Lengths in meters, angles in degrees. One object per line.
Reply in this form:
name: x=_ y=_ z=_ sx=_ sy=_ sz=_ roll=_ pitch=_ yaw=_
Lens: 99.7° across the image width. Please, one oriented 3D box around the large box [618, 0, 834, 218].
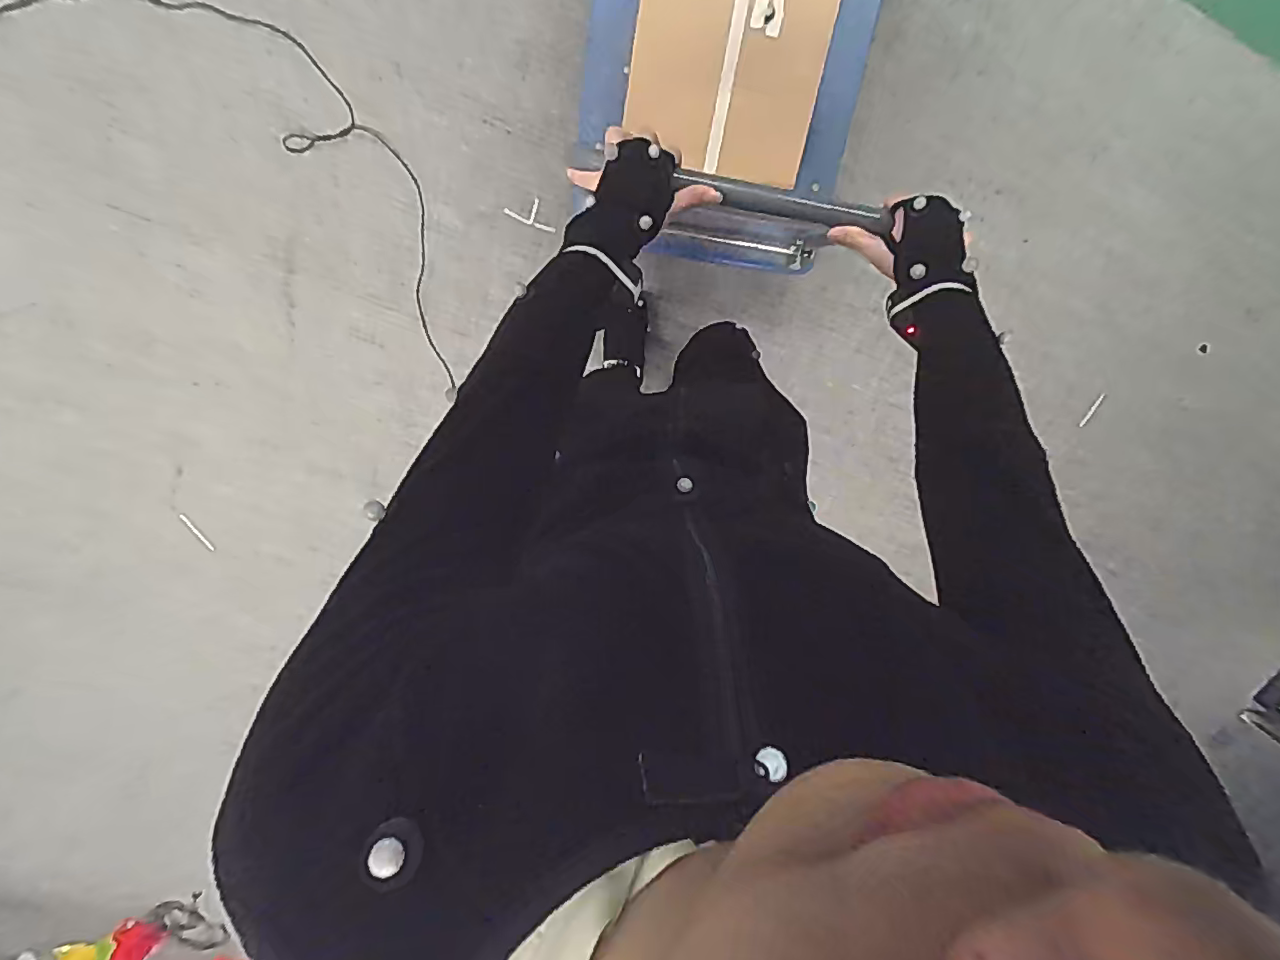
large box: x=0.138 y=-0.744 z=1.018 sx=0.320 sy=0.320 sz=0.408 roll=8 pitch=111 yaw=-6
